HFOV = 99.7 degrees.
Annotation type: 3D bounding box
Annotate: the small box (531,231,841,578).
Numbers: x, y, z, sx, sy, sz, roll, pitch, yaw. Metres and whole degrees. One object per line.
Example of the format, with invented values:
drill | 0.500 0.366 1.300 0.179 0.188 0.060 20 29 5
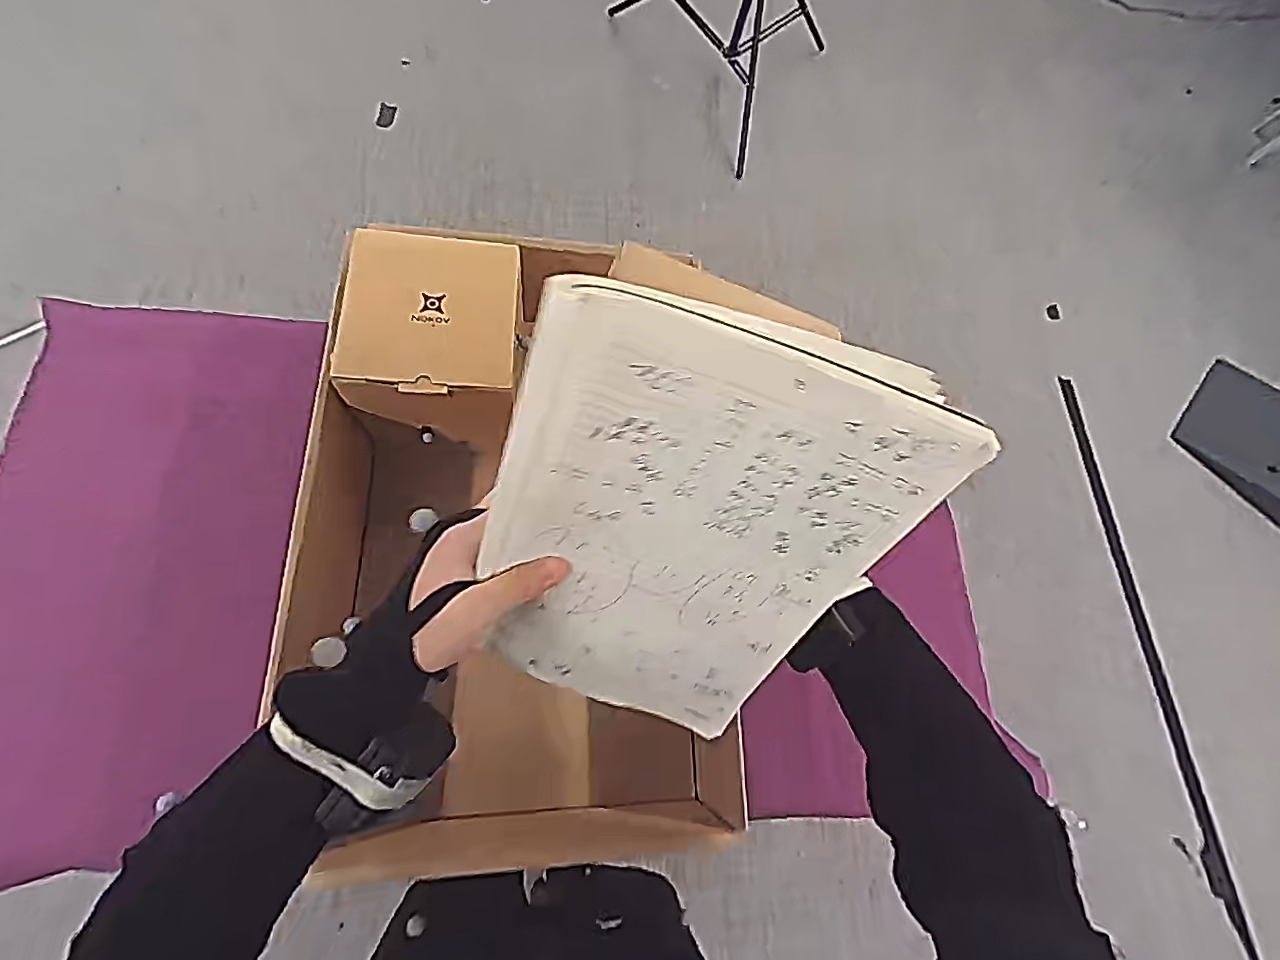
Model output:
small box | 0.023 -0.034 0.403 0.168 0.176 0.179 17 69 -14
